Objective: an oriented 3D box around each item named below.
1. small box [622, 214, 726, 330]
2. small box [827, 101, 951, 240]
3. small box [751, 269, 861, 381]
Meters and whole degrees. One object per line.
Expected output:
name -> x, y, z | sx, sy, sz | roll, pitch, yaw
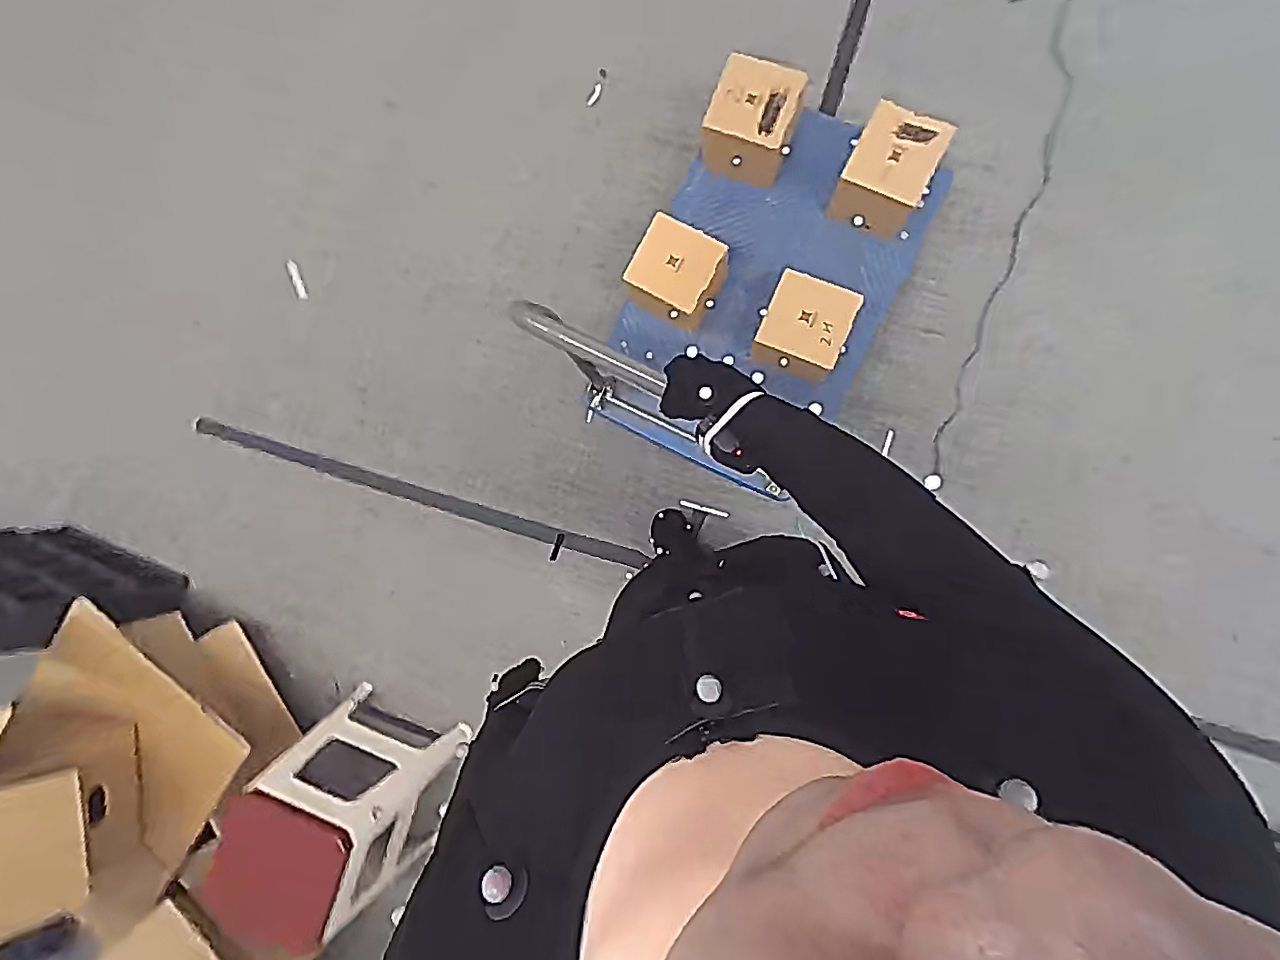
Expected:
small box -> 0.080, -0.468, 1.247 | 0.179, 0.176, 0.168 | 29, 93, 5
small box -> 0.530, -0.667, 1.183 | 0.168, 0.176, 0.179 | 27, 95, 7
small box -> 0.358, -0.336, 1.208 | 0.179, 0.176, 0.168 | 24, 93, 7
